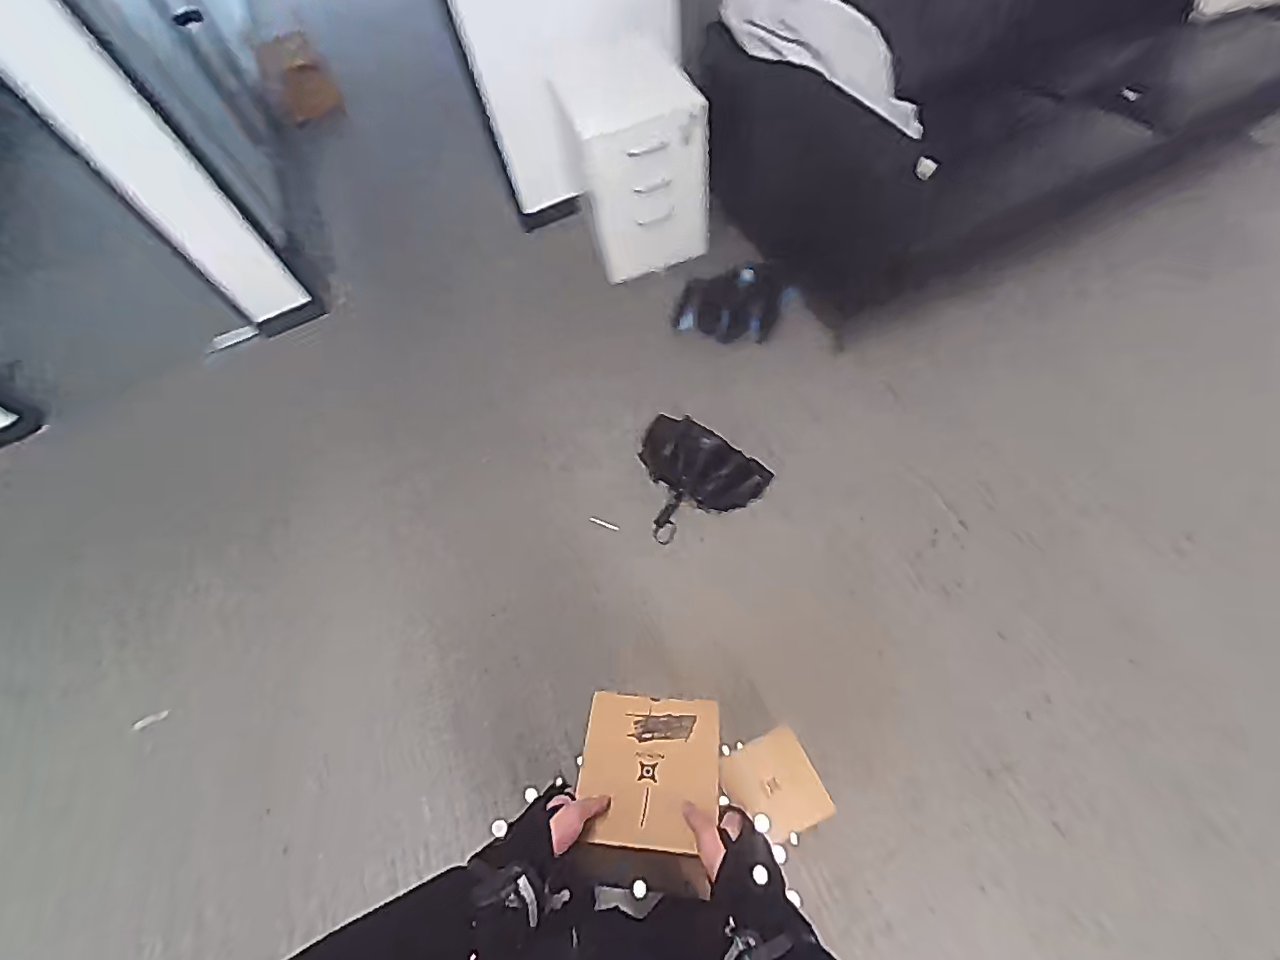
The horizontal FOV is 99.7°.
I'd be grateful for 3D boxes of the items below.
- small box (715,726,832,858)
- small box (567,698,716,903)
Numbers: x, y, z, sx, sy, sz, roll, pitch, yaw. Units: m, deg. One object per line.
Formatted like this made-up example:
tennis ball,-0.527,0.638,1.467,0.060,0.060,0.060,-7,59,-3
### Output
small box,0.252,0.621,1.085,0.179,0.176,0.168,-25,61,-8
small box,0.011,0.410,0.698,0.168,0.176,0.179,1,41,6
